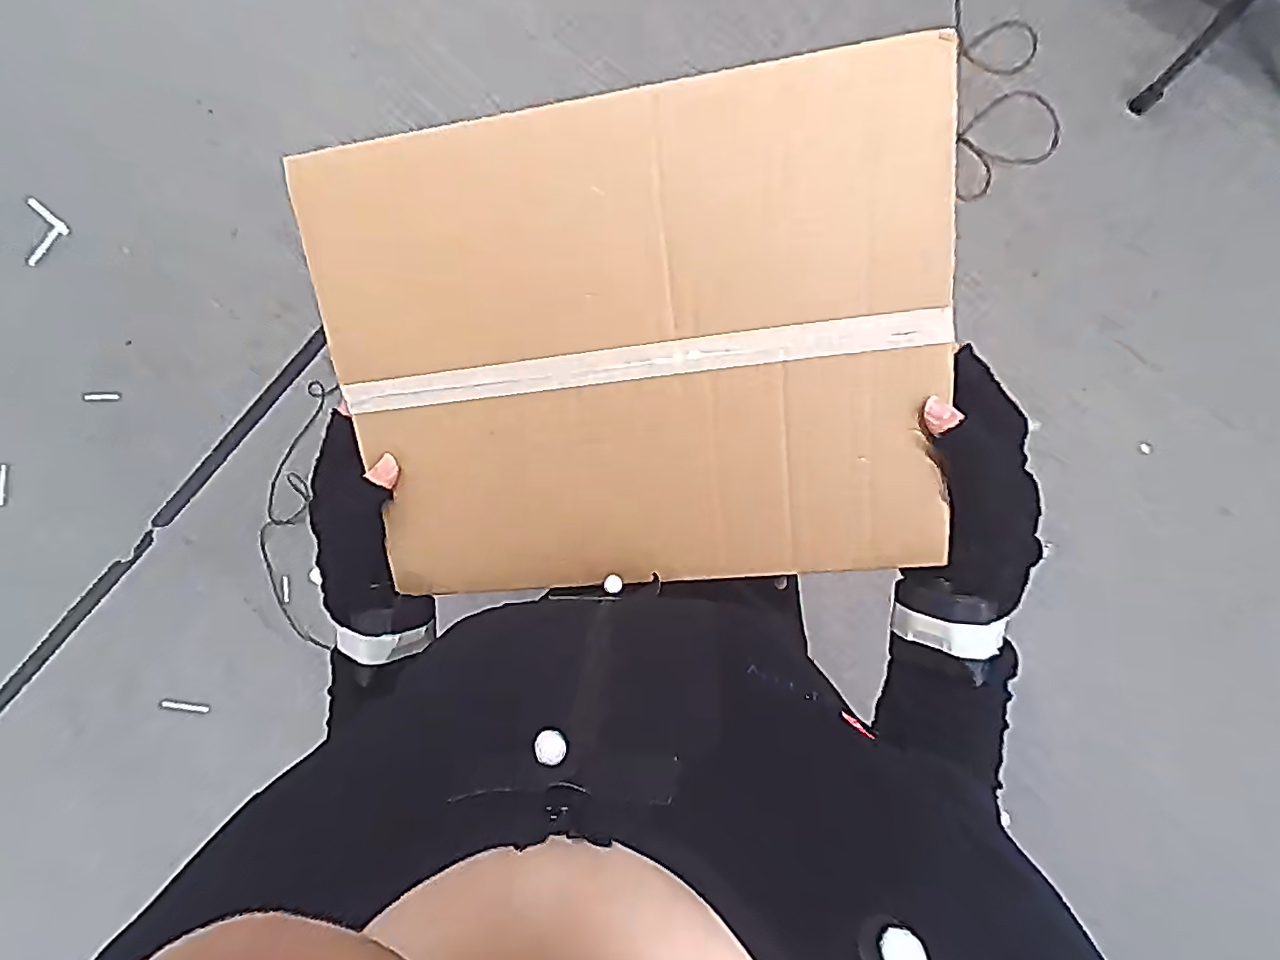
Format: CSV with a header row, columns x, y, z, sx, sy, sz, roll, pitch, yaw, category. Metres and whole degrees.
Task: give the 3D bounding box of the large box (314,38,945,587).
x,y,z,sx,sy,sz,roll,pitch,yaw,category
0.010,-0.118,0.509,0.408,0.320,0.320,-5,105,9,large box
